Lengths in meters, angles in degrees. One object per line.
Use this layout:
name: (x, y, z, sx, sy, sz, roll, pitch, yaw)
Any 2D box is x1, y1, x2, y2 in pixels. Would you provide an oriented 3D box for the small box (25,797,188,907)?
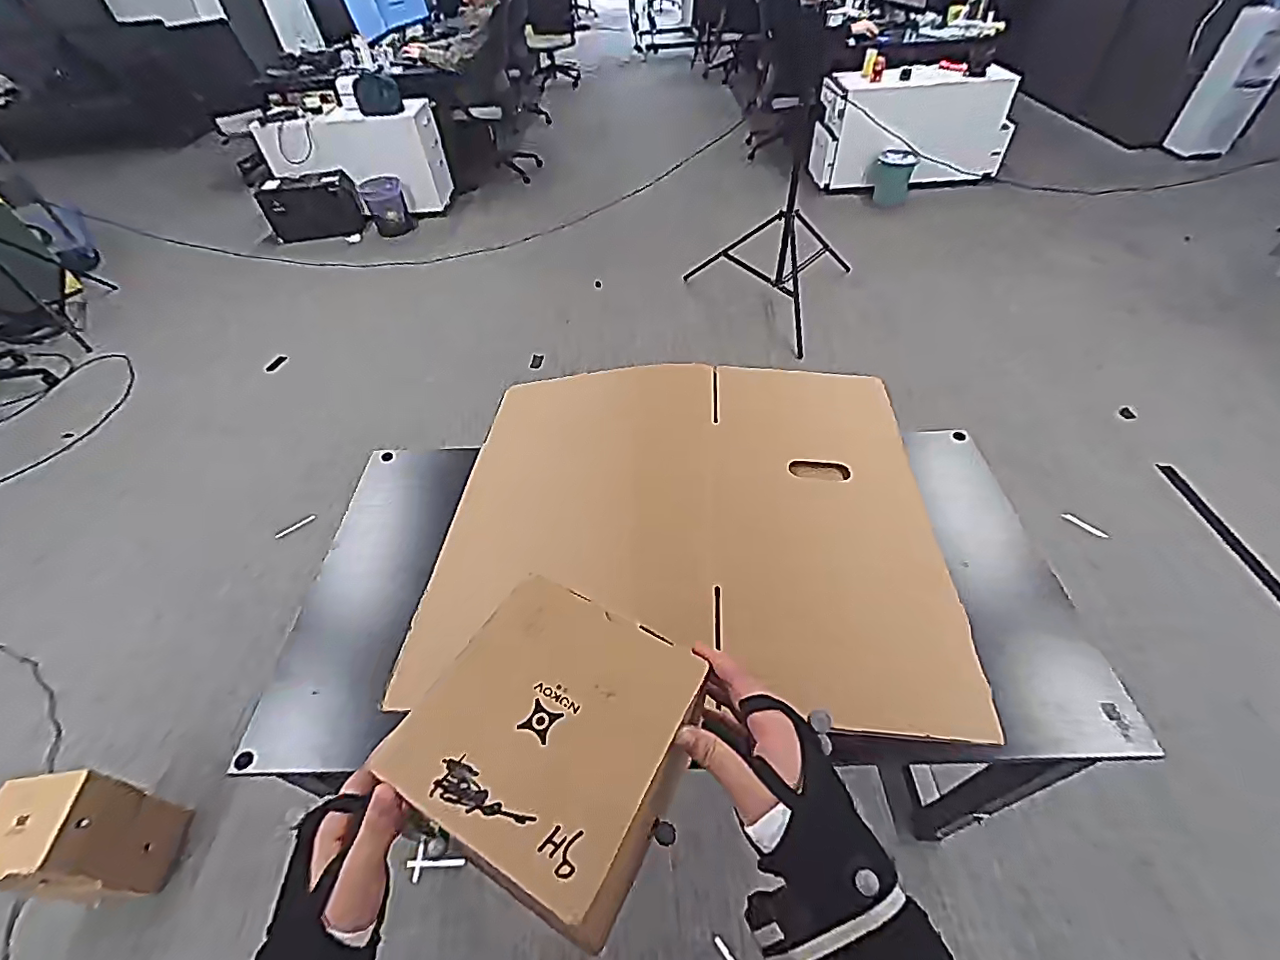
small box: (-1.182, 0.841, 1.221, 0.168, 0.176, 0.179, -5, 48, -1)

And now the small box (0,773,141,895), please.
small box: (-1.191, 0.727, 1.105, 0.168, 0.176, 0.179, -7, 47, -3)
